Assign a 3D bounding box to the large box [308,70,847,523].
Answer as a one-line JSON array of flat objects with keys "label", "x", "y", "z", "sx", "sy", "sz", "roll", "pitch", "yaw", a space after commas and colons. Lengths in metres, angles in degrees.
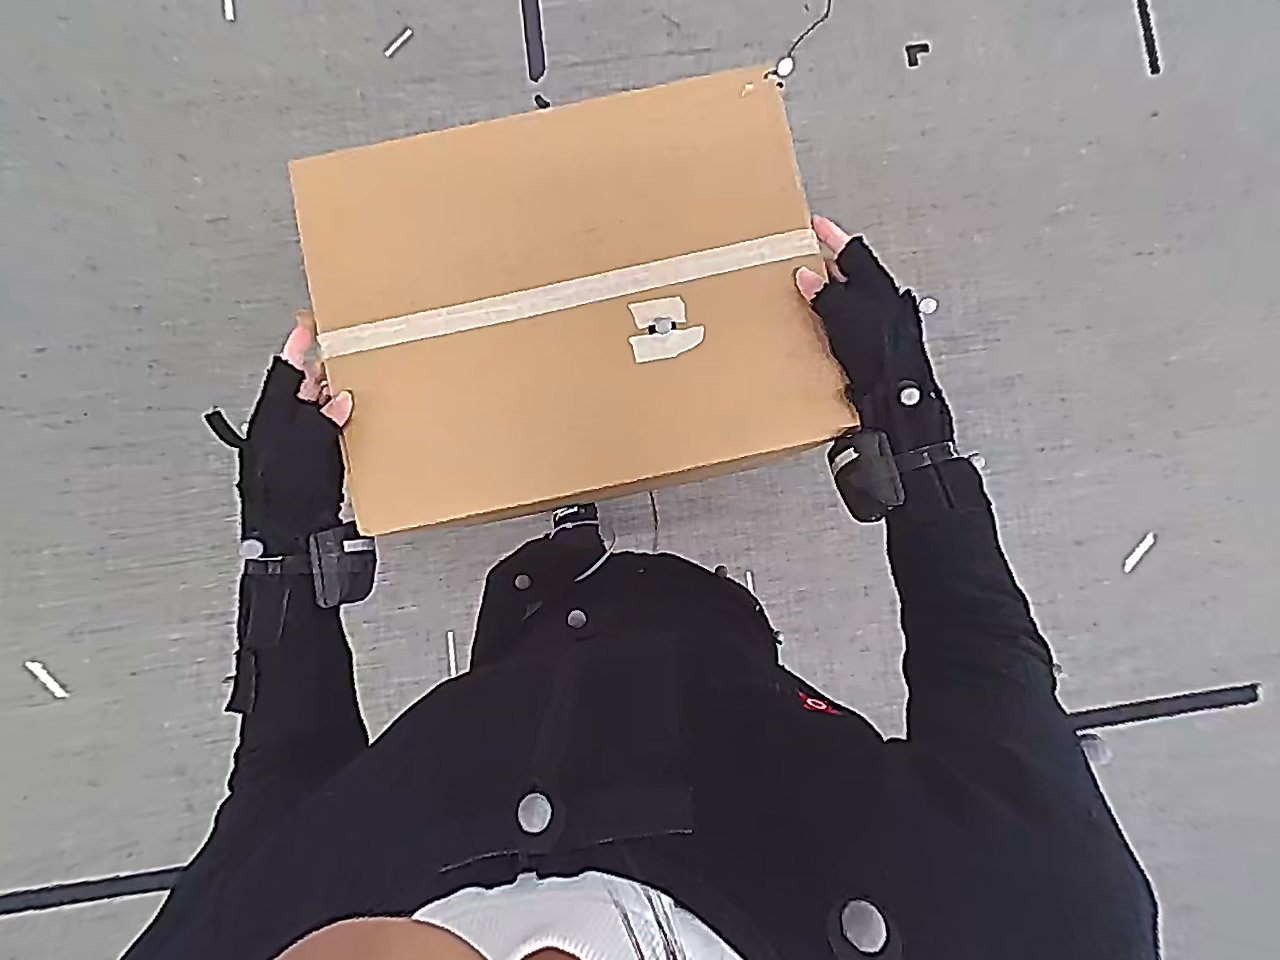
[{"label": "large box", "x": -0.056, "y": -0.148, "z": 0.596, "sx": 0.408, "sy": 0.320, "sz": 0.320, "roll": -13, "pitch": 88, "yaw": -1}]
